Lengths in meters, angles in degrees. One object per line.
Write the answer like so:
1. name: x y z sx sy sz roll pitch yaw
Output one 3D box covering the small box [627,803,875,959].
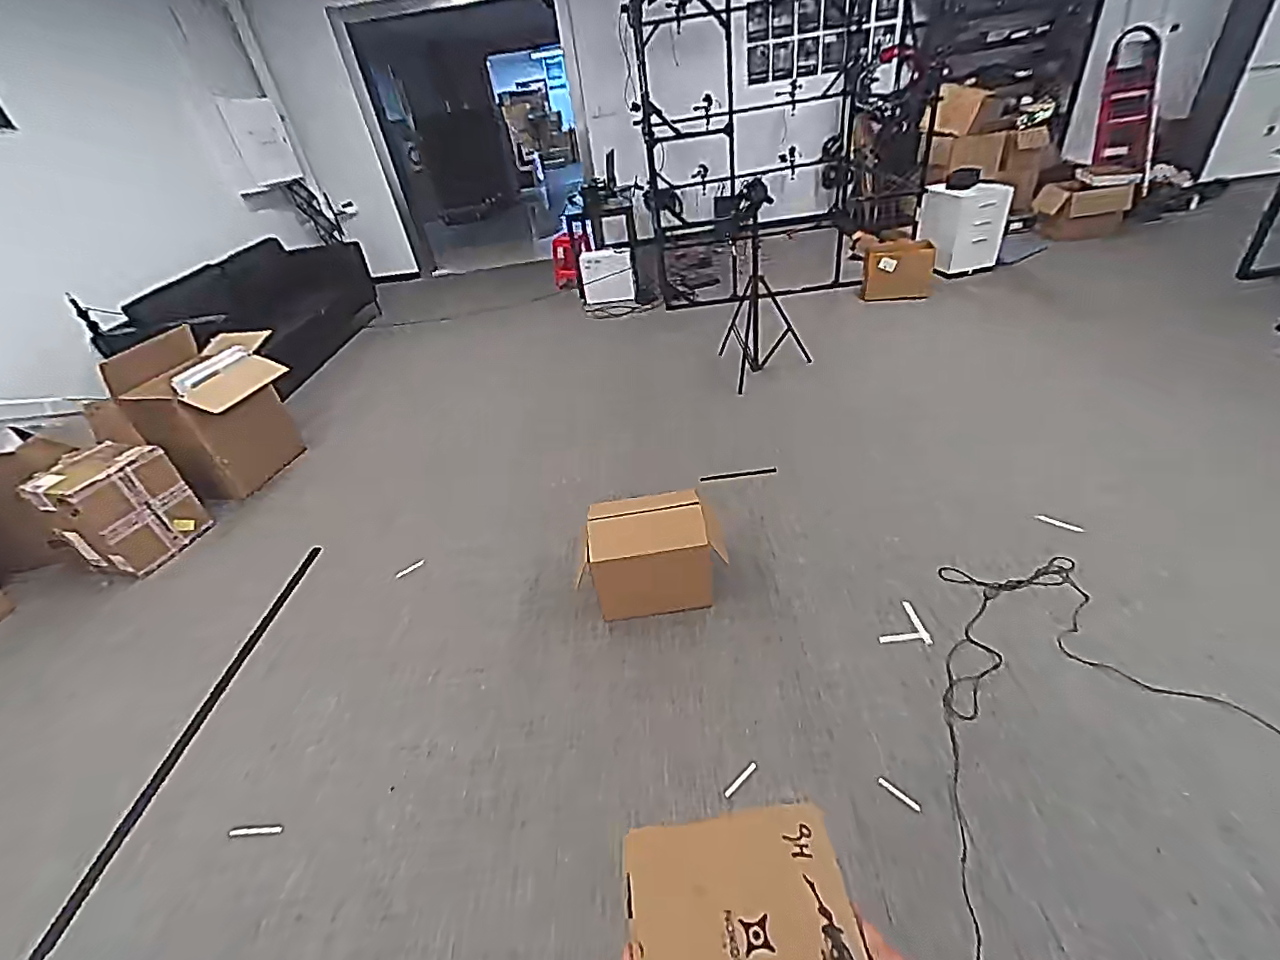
1. small box: 0.090 0.405 0.460 0.179 0.176 0.168 -7 41 -2
